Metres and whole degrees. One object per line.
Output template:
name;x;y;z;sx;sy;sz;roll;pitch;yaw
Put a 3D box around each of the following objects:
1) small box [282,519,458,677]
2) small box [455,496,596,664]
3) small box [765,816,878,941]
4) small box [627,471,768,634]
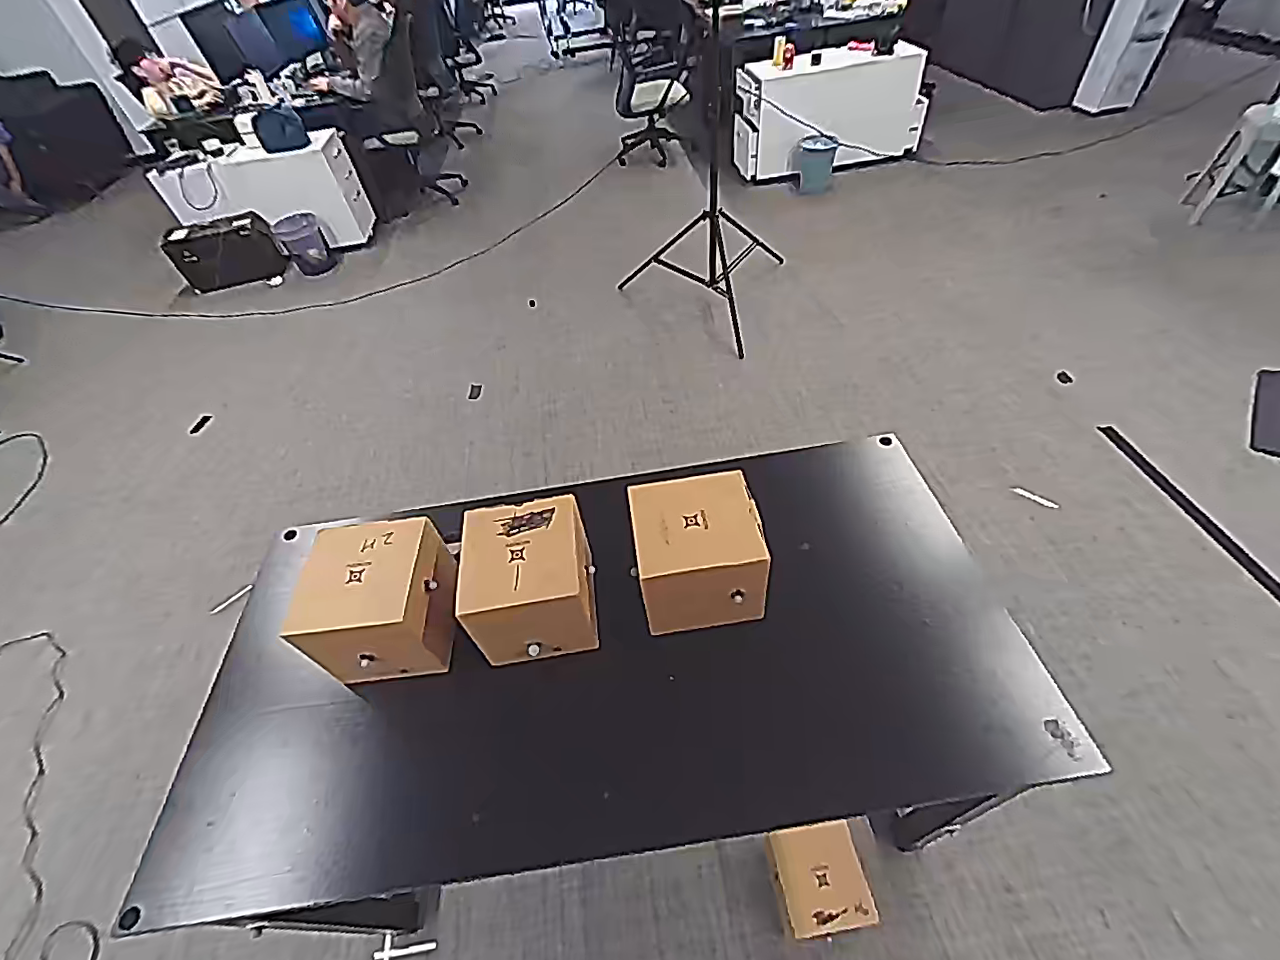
small box;-0.385;0.184;0.817;0.168;0.176;0.179;-7;48;1
small box;-0.163;0.151;0.815;0.168;0.176;0.179;-10;49;-1
small box;0.363;0.828;1.121;0.168;0.176;0.179;-11;48;0
small box;0.082;0.112;0.819;0.179;0.176;0.168;-10;47;0
